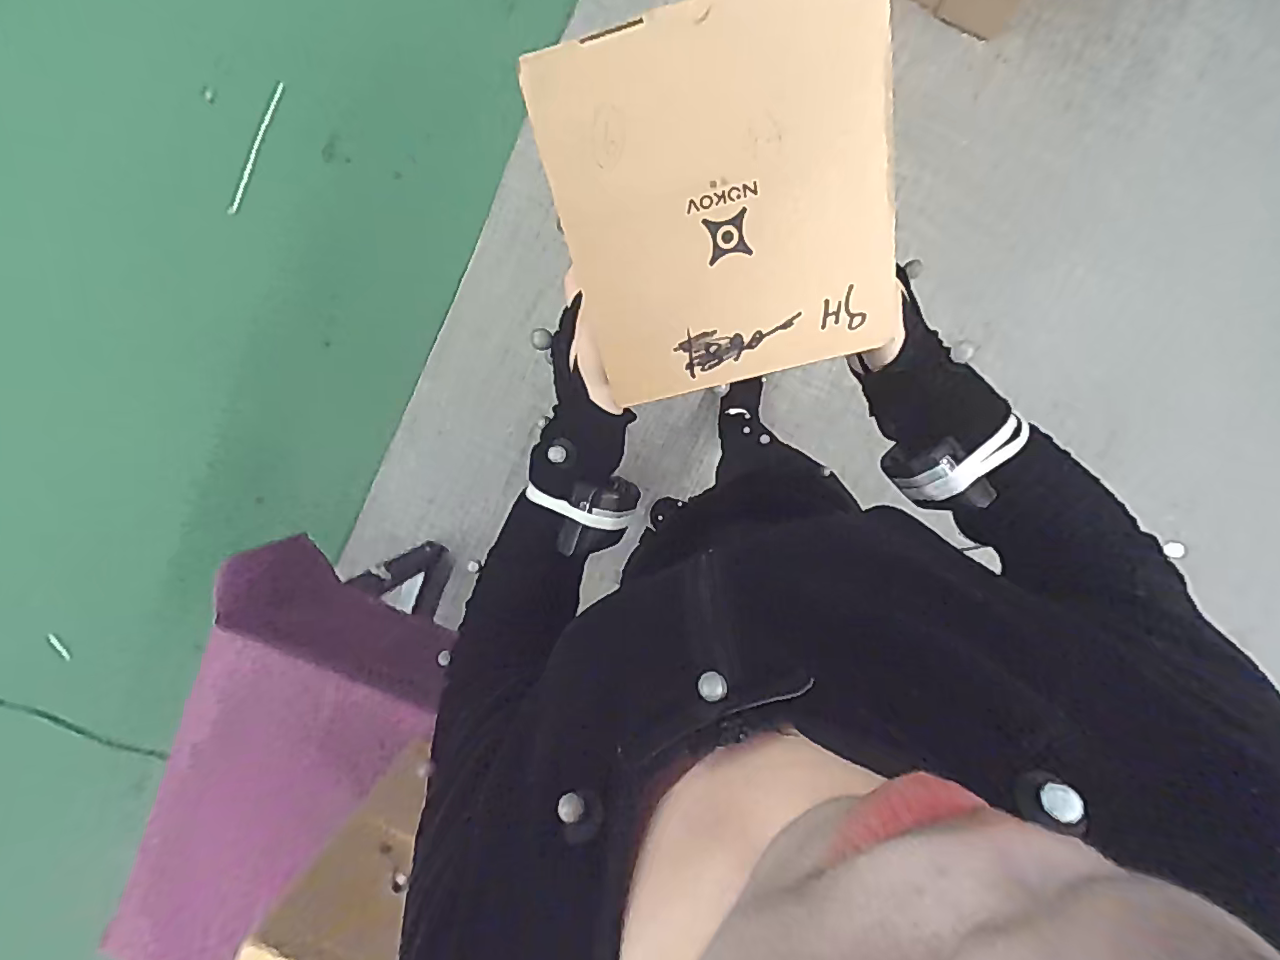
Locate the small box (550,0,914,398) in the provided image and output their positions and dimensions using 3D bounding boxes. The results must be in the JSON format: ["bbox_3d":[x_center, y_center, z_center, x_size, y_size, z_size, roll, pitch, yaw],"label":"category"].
[{"bbox_3d":[0.055,-0.176,0.346,0.168,0.176,0.179,-12,118,8],"label":"small box"}]
